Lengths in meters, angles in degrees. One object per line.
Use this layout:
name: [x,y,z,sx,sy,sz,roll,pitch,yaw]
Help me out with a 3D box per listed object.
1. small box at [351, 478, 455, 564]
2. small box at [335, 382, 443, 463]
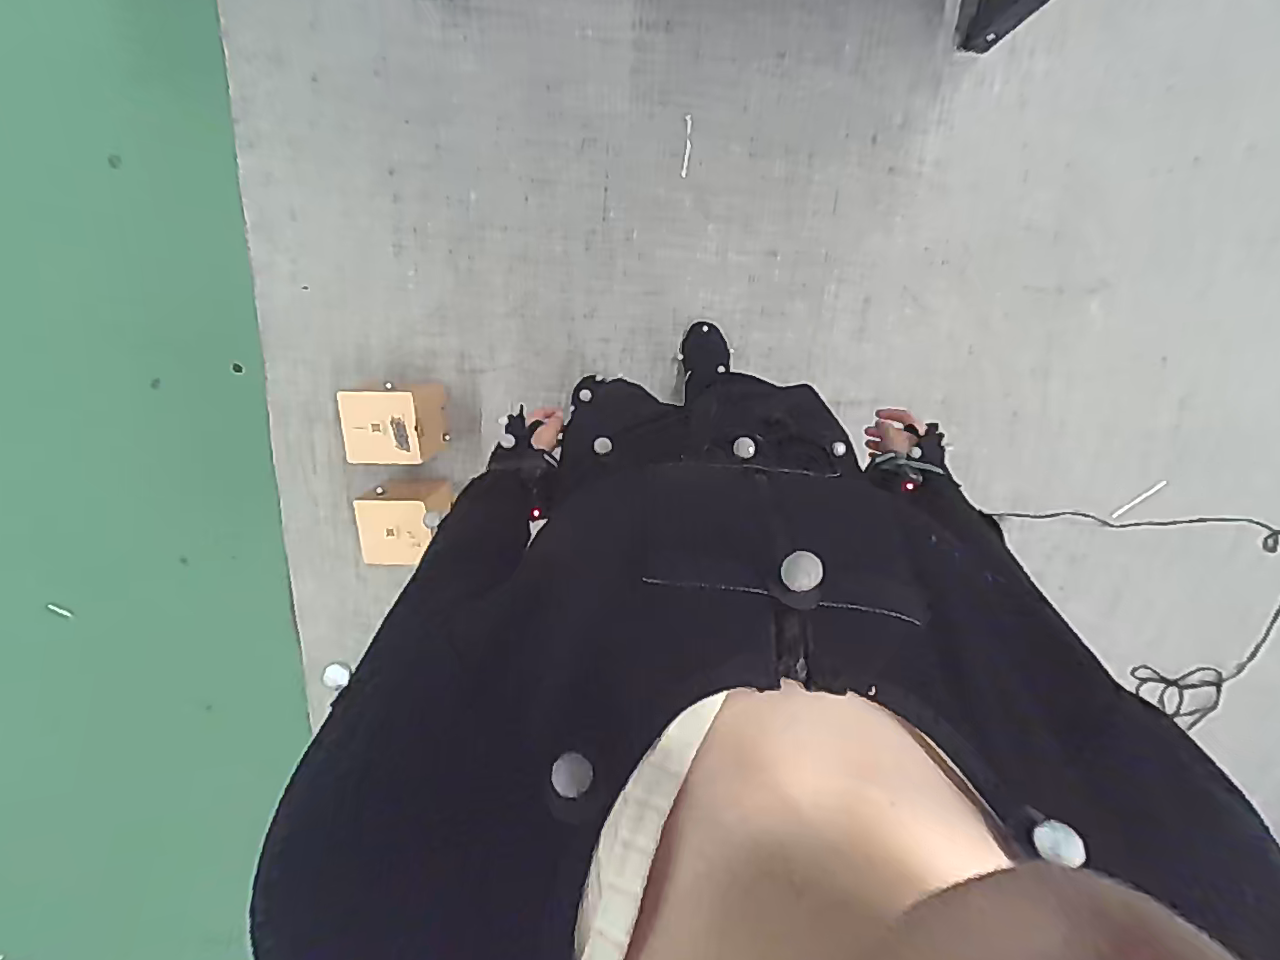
small box: [-0.583,0.098,1.348,0.179,0.176,0.168,0,107,2]
small box: [-0.579,-0.141,1.277,0.179,0.176,0.168,1,106,2]
